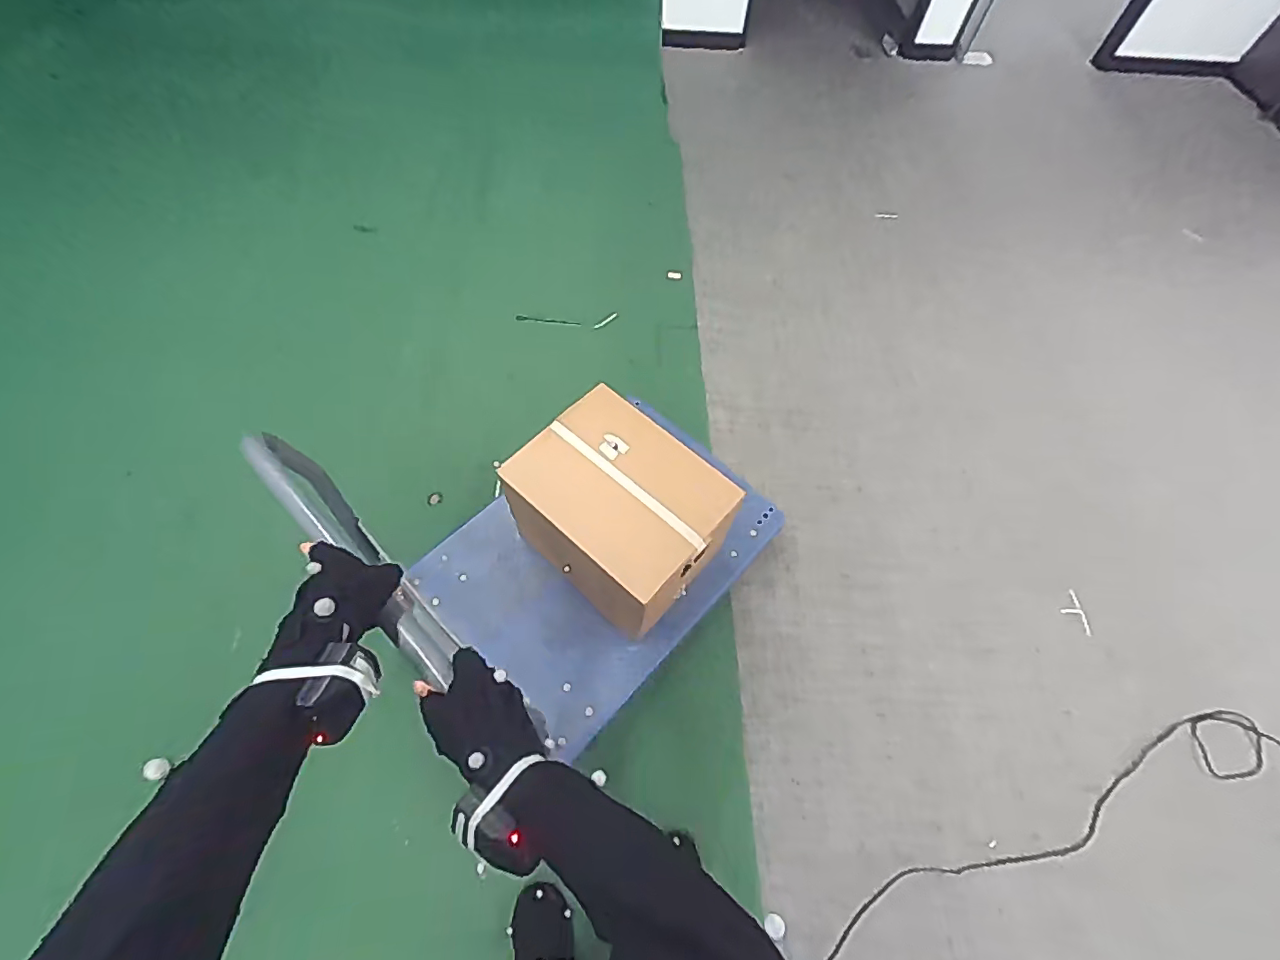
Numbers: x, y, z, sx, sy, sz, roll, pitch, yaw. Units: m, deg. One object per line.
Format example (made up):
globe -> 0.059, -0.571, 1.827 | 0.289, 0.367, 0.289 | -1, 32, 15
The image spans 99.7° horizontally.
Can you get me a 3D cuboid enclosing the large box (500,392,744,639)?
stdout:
large box -> -0.038, 0.087, 1.216 | 0.408, 0.320, 0.320 | 39, 66, 17
